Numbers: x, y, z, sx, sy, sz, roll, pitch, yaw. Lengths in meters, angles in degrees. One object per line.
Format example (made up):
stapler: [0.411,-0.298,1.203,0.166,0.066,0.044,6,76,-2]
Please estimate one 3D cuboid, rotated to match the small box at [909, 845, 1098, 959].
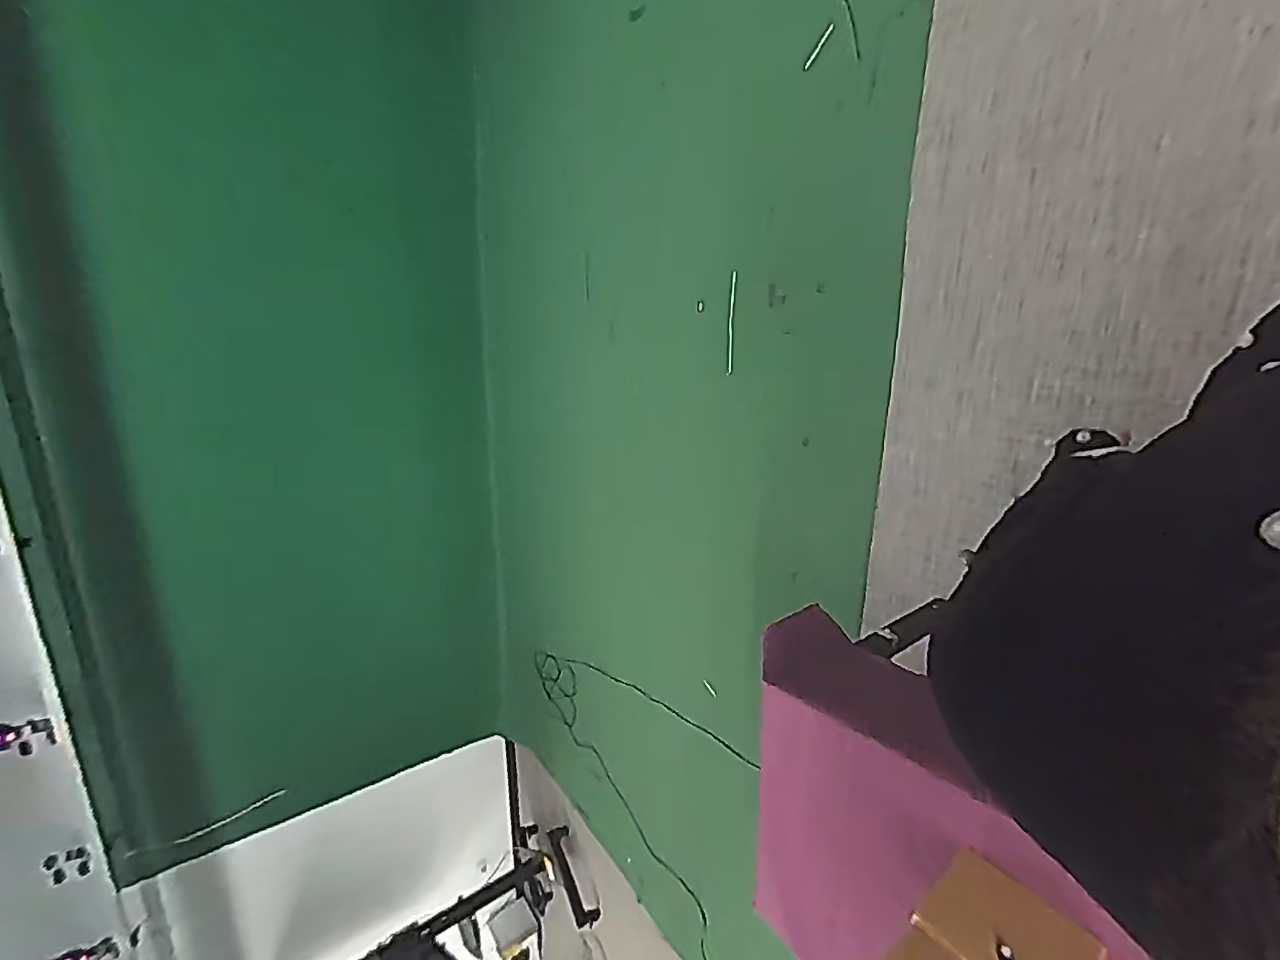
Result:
small box: [0.490,0.663,0.748,0.179,0.176,0.168,23,116,51]
